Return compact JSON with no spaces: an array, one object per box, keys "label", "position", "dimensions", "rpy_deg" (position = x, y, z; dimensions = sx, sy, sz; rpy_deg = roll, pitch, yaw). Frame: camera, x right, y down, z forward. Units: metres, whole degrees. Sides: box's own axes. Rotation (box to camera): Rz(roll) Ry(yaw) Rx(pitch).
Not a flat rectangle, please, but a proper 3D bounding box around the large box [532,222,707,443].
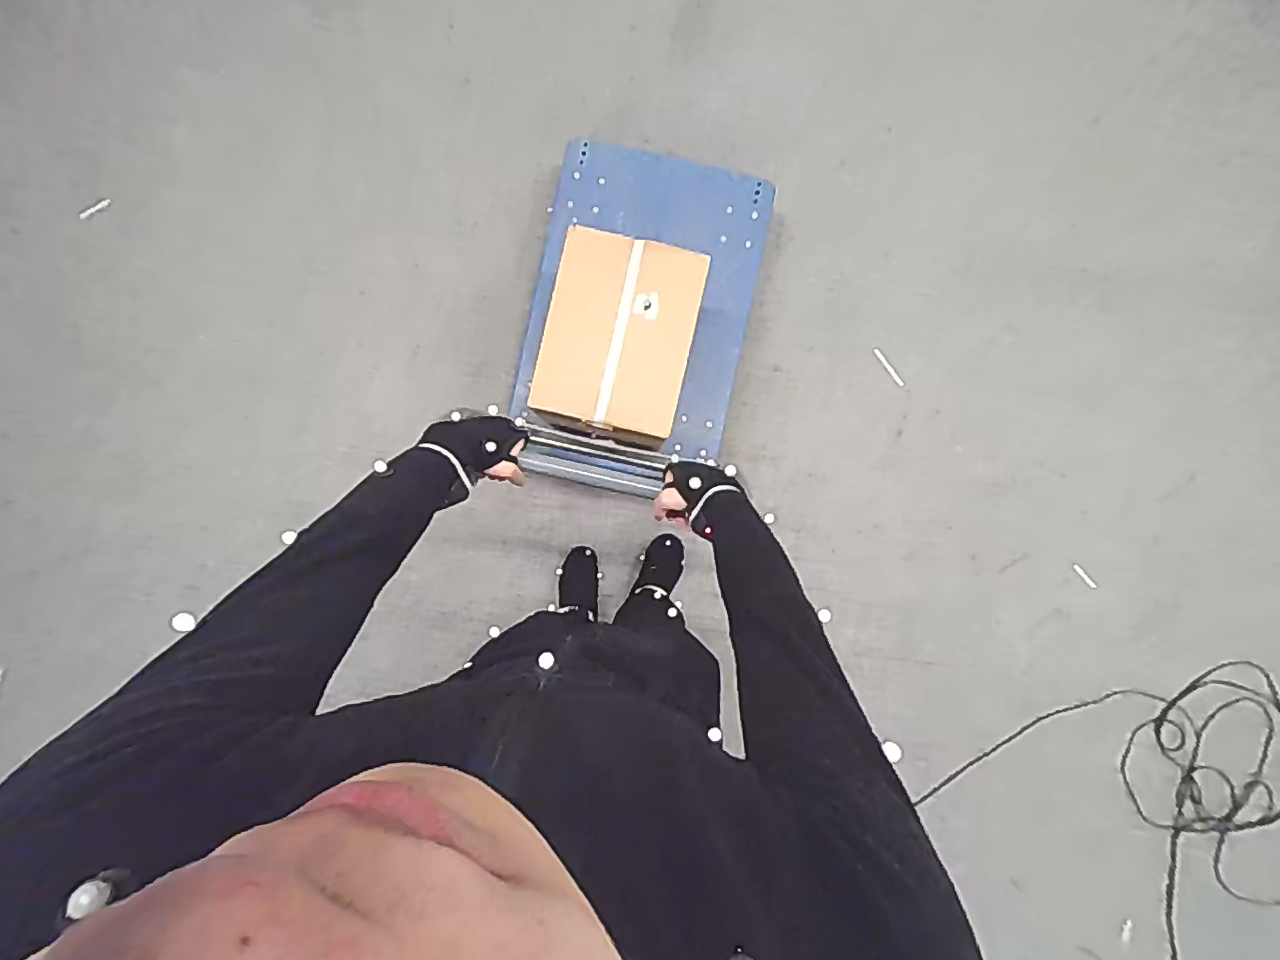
[{"label":"large box","position":[-0.045,-0.323,1.297],"dimensions":[0.320,0.320,0.408],"rpy_deg":[13,89,-2]}]
